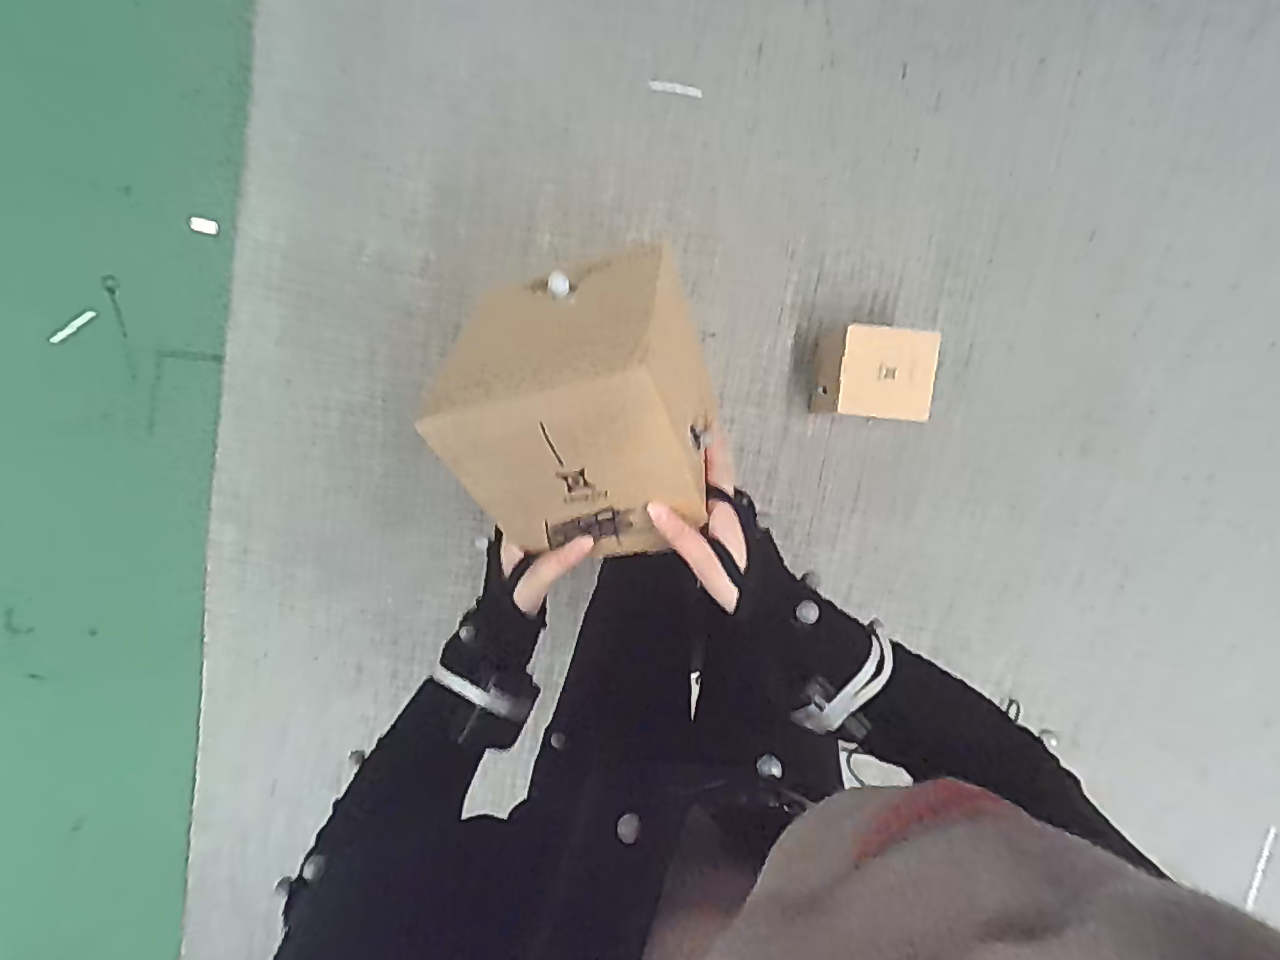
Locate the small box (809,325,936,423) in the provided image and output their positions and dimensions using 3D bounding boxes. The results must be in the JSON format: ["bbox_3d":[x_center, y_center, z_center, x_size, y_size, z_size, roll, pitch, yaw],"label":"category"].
[{"bbox_3d":[0.454,-0.205,1.085,0.179,0.176,0.168,6,97,1],"label":"small box"}]
